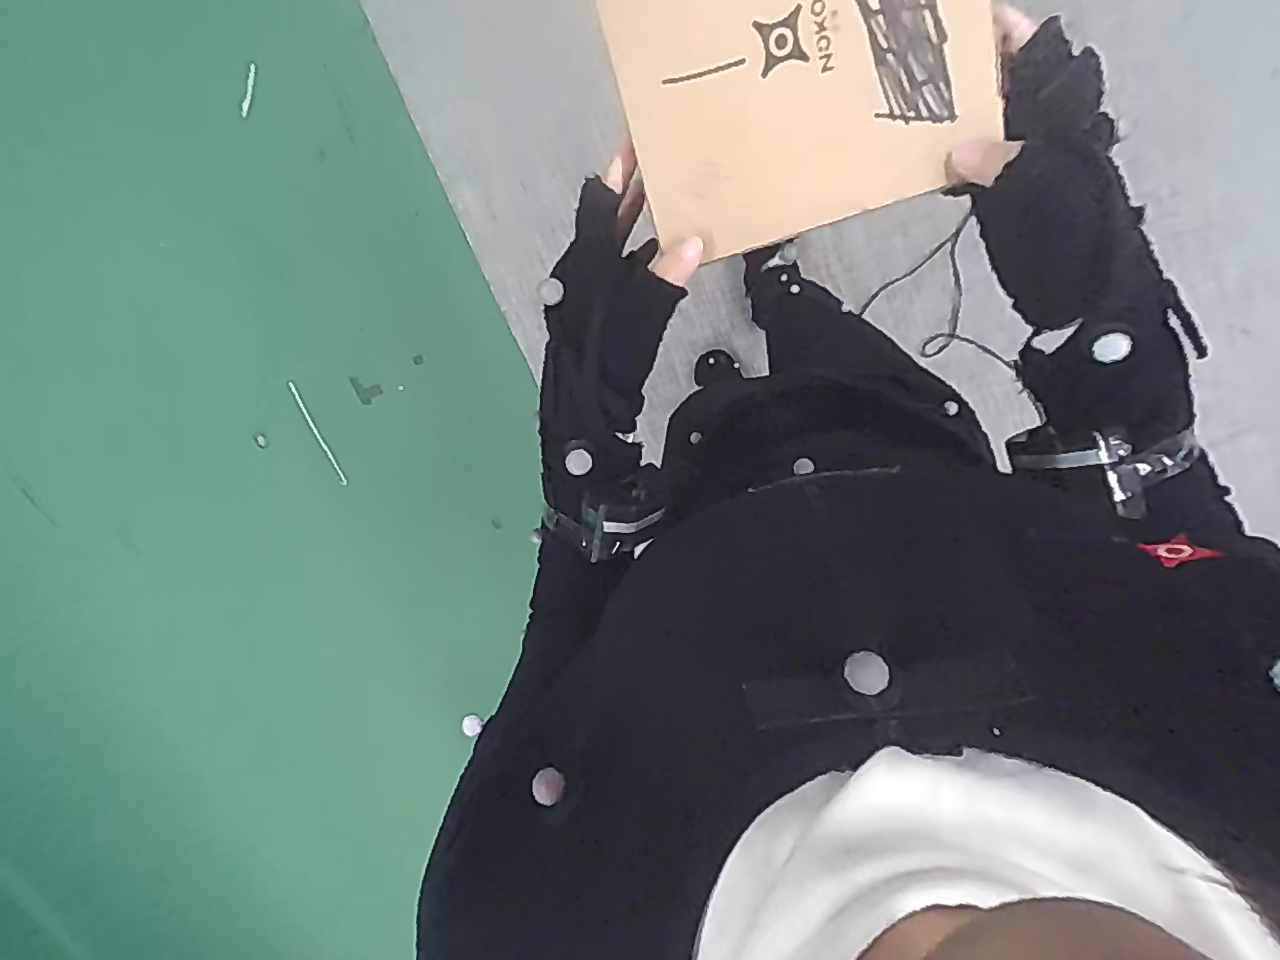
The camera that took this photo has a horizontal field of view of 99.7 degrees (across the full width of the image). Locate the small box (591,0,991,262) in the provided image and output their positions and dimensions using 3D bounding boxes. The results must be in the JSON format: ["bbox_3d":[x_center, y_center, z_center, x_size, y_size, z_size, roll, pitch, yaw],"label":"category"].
[{"bbox_3d":[0.075,-0.243,0.327,0.179,0.176,0.168,-14,111,10],"label":"small box"}]
